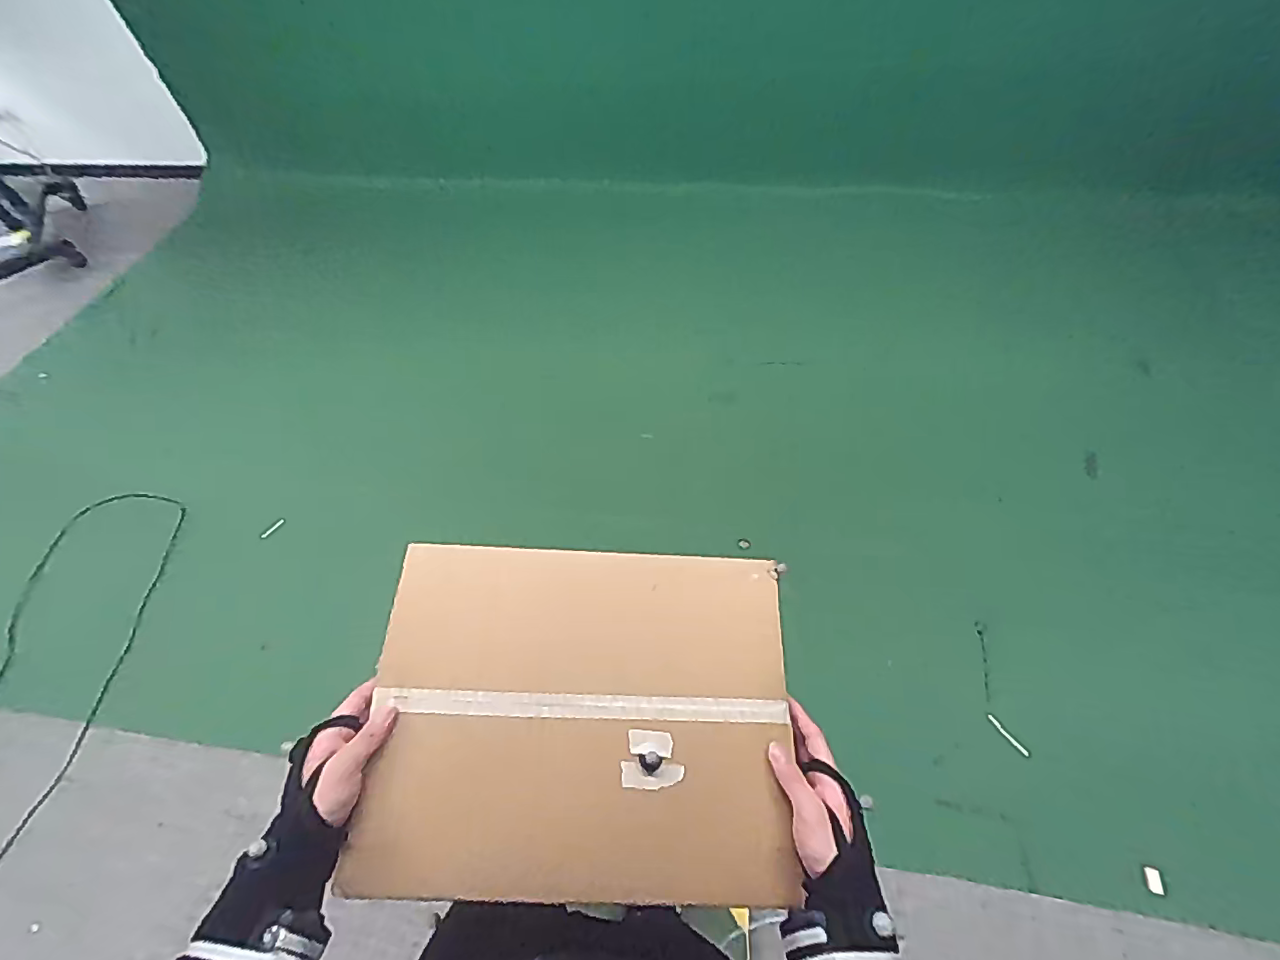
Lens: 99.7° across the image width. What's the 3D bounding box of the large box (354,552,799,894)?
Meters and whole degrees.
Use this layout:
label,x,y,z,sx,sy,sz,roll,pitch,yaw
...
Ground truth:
label,x,y,z,sx,sy,sz,roll,pitch,yaw
large box,-0.062,0.289,0.675,0.408,0.320,0.320,3,65,-3
